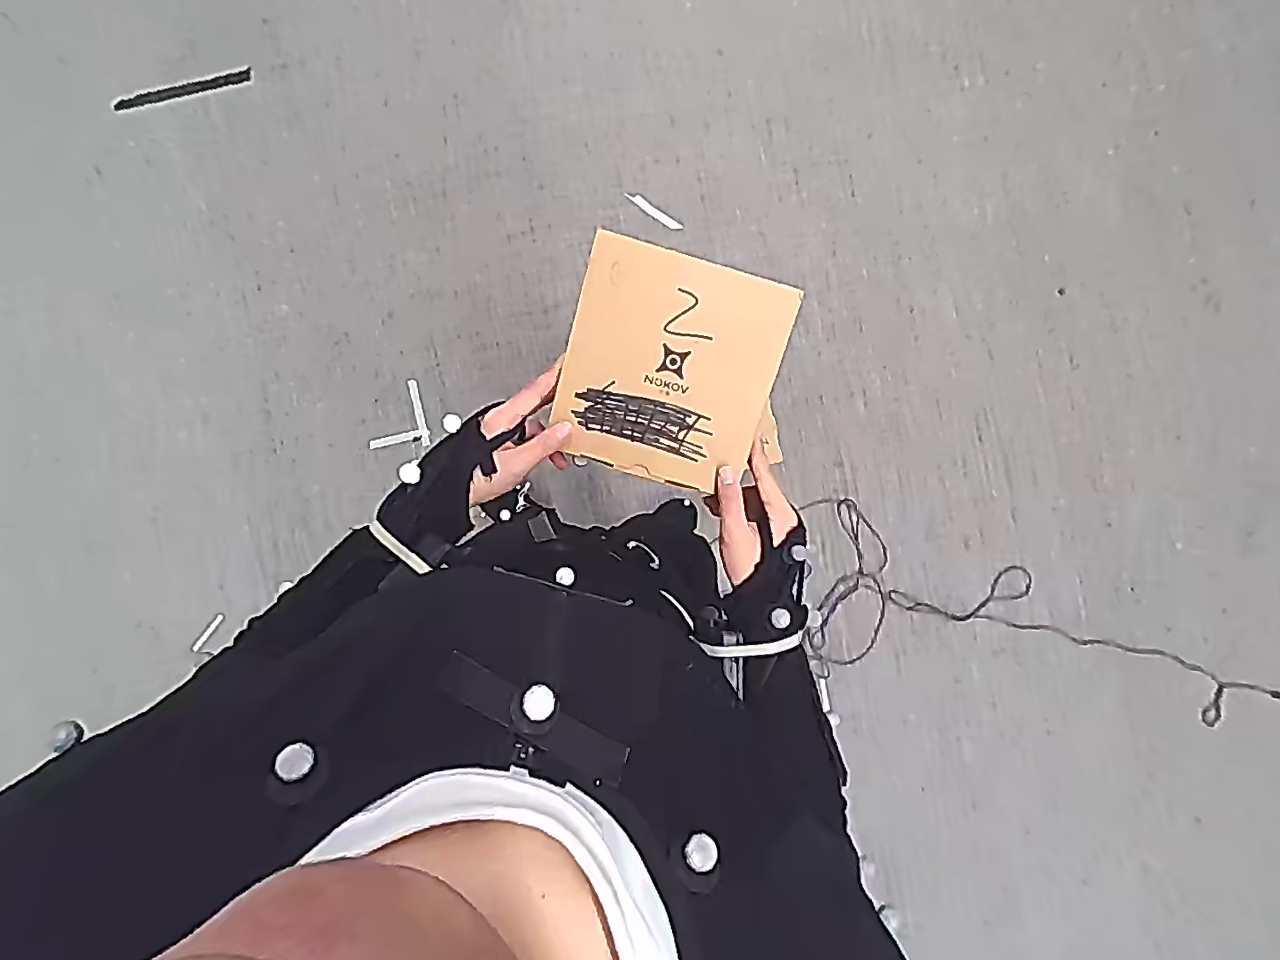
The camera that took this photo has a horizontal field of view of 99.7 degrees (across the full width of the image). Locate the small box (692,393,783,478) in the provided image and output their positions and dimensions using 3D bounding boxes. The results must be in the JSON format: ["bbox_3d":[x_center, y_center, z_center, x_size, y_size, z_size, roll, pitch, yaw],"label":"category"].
[{"bbox_3d":[0.224,-0.098,1.291,0.179,0.176,0.168,-12,90,1],"label":"small box"}]
